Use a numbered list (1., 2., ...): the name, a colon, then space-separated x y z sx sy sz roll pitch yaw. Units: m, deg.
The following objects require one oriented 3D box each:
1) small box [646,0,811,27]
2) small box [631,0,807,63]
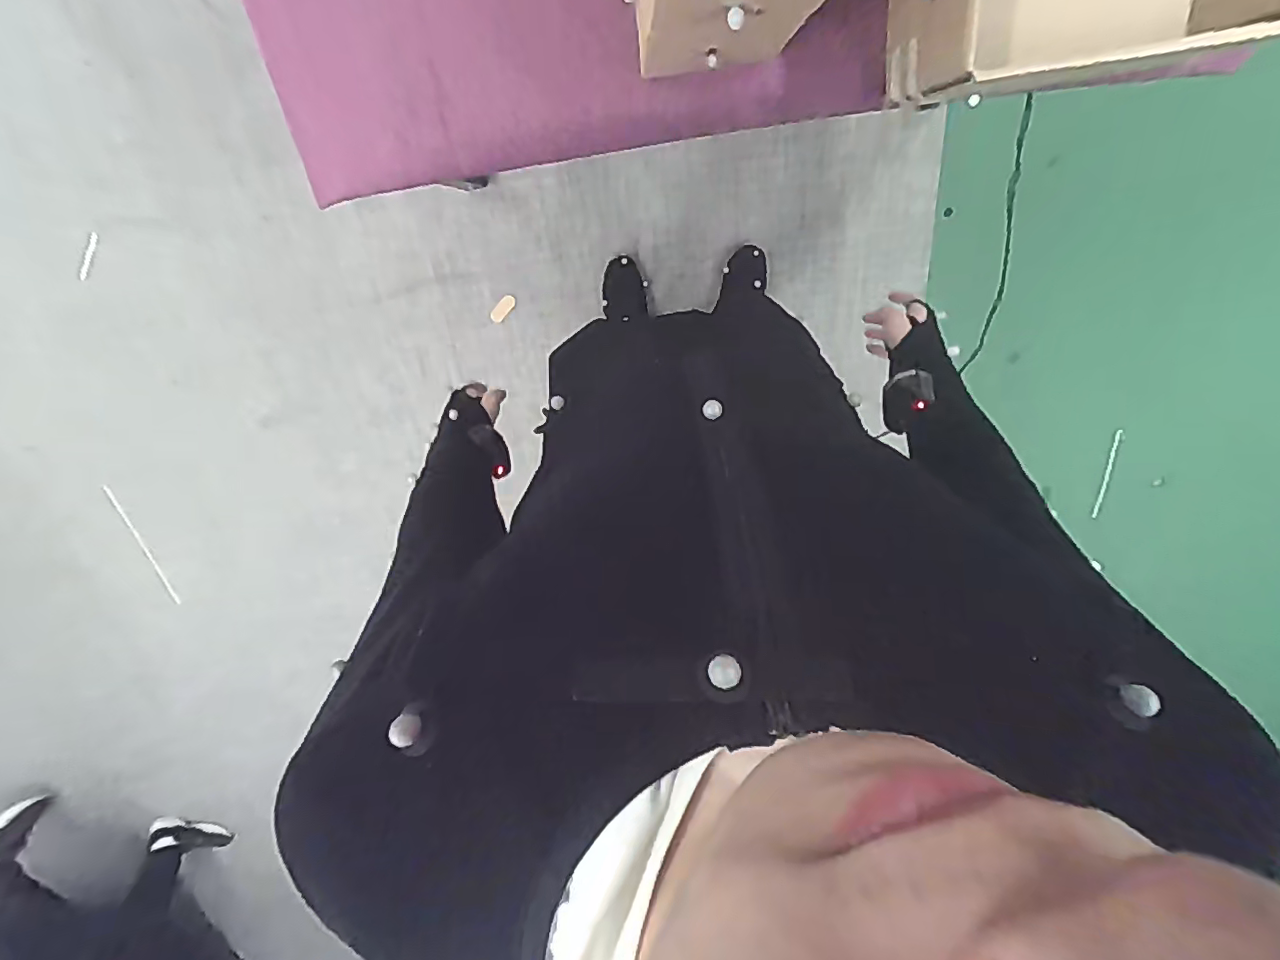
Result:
1. small box: 0.080 -0.490 0.413 0.168 0.176 0.179 -6 116 2
2. small box: 0.073 -0.560 0.561 0.168 0.176 0.179 -7 115 1
